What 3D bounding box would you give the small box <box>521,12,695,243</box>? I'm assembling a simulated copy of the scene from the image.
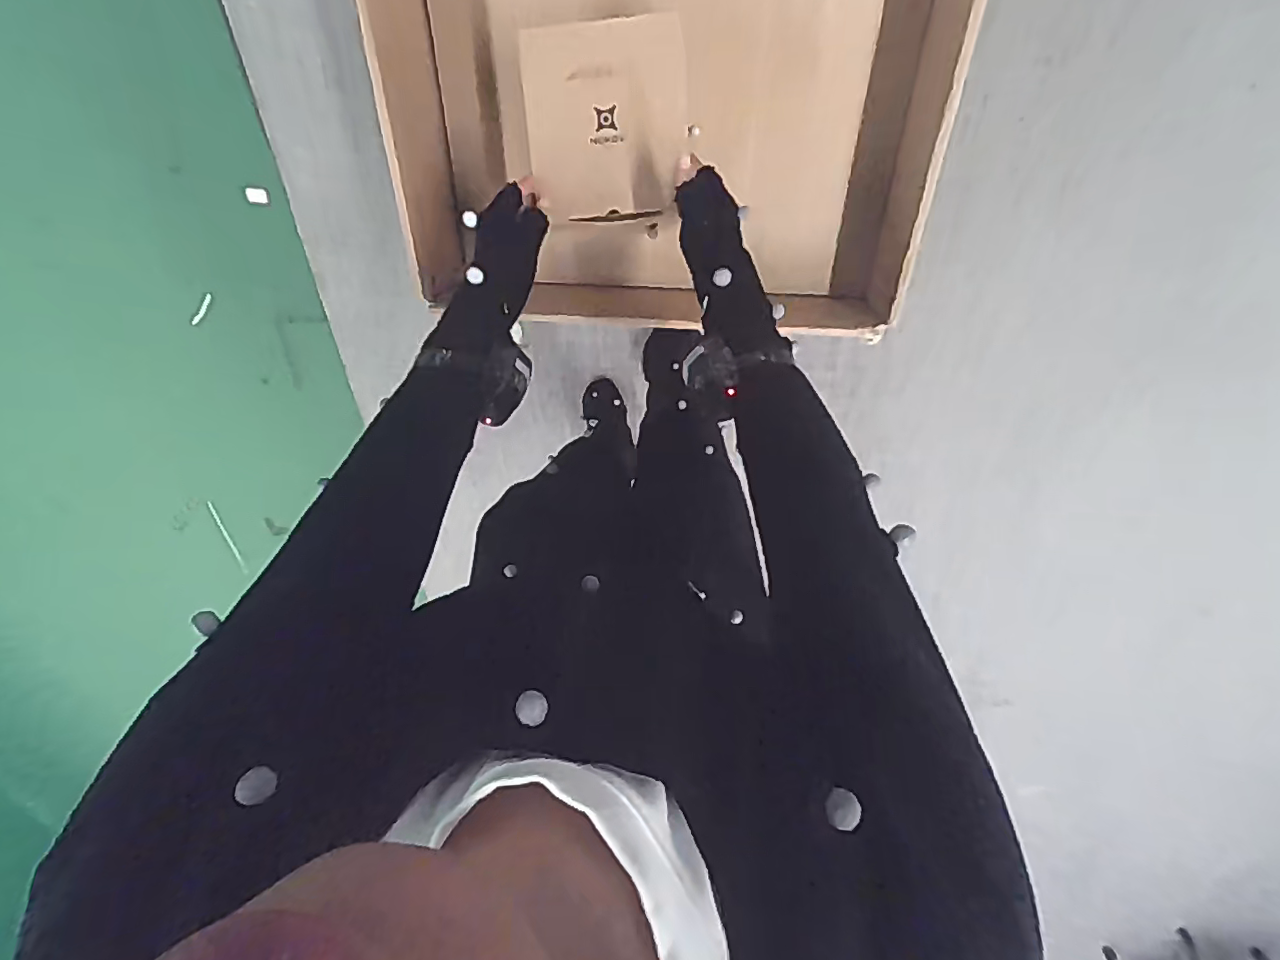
[{"bbox_3d":[-0.023,-0.382,0.625,0.168,0.176,0.179,-4,104,6],"label":"small box"}]
